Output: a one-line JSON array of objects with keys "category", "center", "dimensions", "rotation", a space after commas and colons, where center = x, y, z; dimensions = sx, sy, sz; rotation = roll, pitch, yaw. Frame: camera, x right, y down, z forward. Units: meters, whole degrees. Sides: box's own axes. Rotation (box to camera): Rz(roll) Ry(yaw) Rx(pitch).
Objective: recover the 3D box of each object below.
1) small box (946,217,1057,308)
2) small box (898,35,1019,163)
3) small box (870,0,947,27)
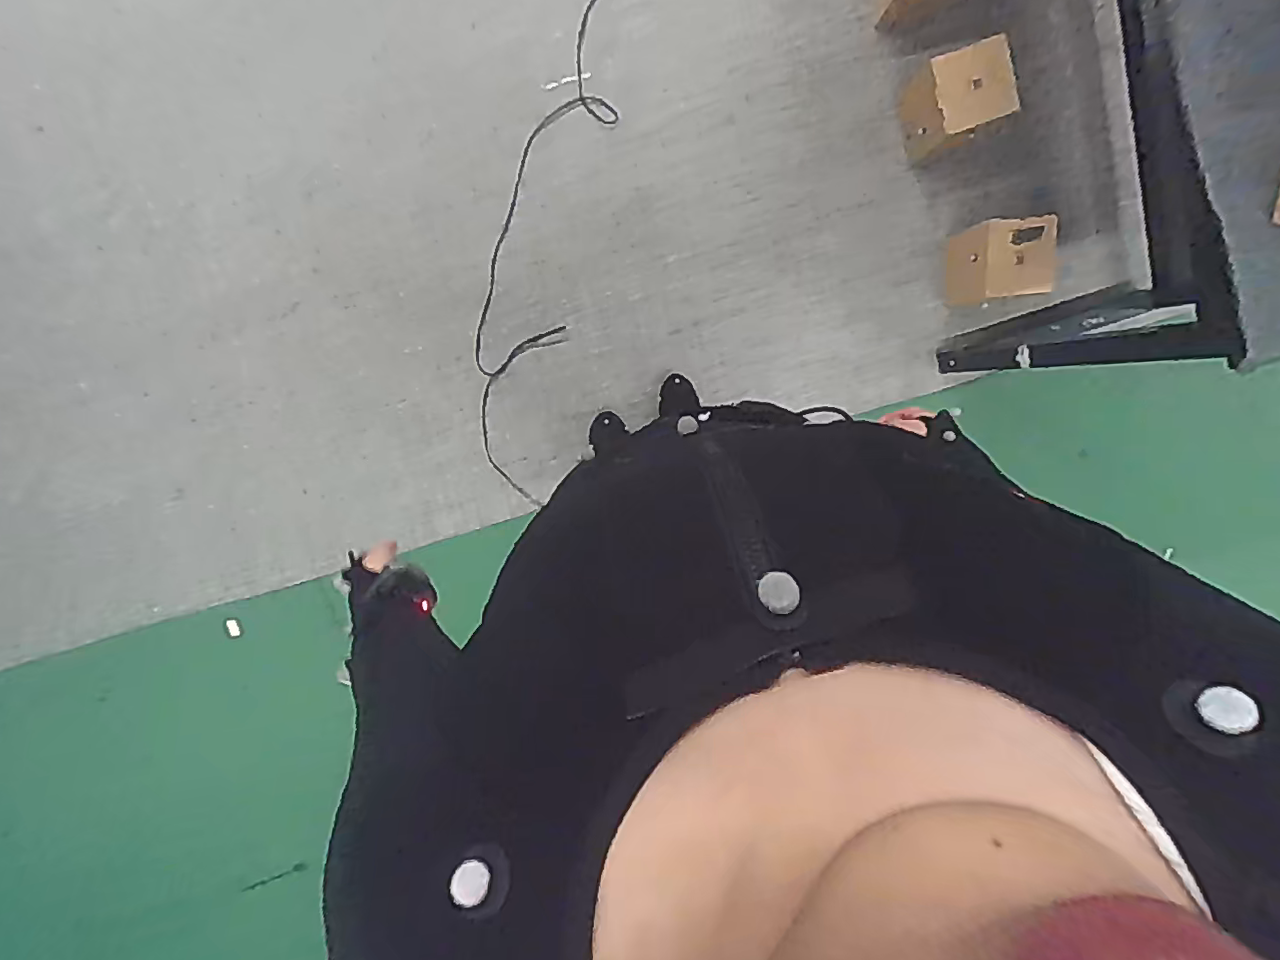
[{"category": "small box", "center": [0.887, -0.534, 1.343], "dimensions": [0.168, 0.176, 0.179], "rotation": [-5, 101, -1]}, {"category": "small box", "center": [0.740, -0.888, 1.280], "dimensions": [0.179, 0.176, 0.168], "rotation": [-20, 100, 0]}, {"category": "small box", "center": [0.634, -1.184, 1.230], "dimensions": [0.179, 0.176, 0.168], "rotation": [-13, 99, 0]}]
